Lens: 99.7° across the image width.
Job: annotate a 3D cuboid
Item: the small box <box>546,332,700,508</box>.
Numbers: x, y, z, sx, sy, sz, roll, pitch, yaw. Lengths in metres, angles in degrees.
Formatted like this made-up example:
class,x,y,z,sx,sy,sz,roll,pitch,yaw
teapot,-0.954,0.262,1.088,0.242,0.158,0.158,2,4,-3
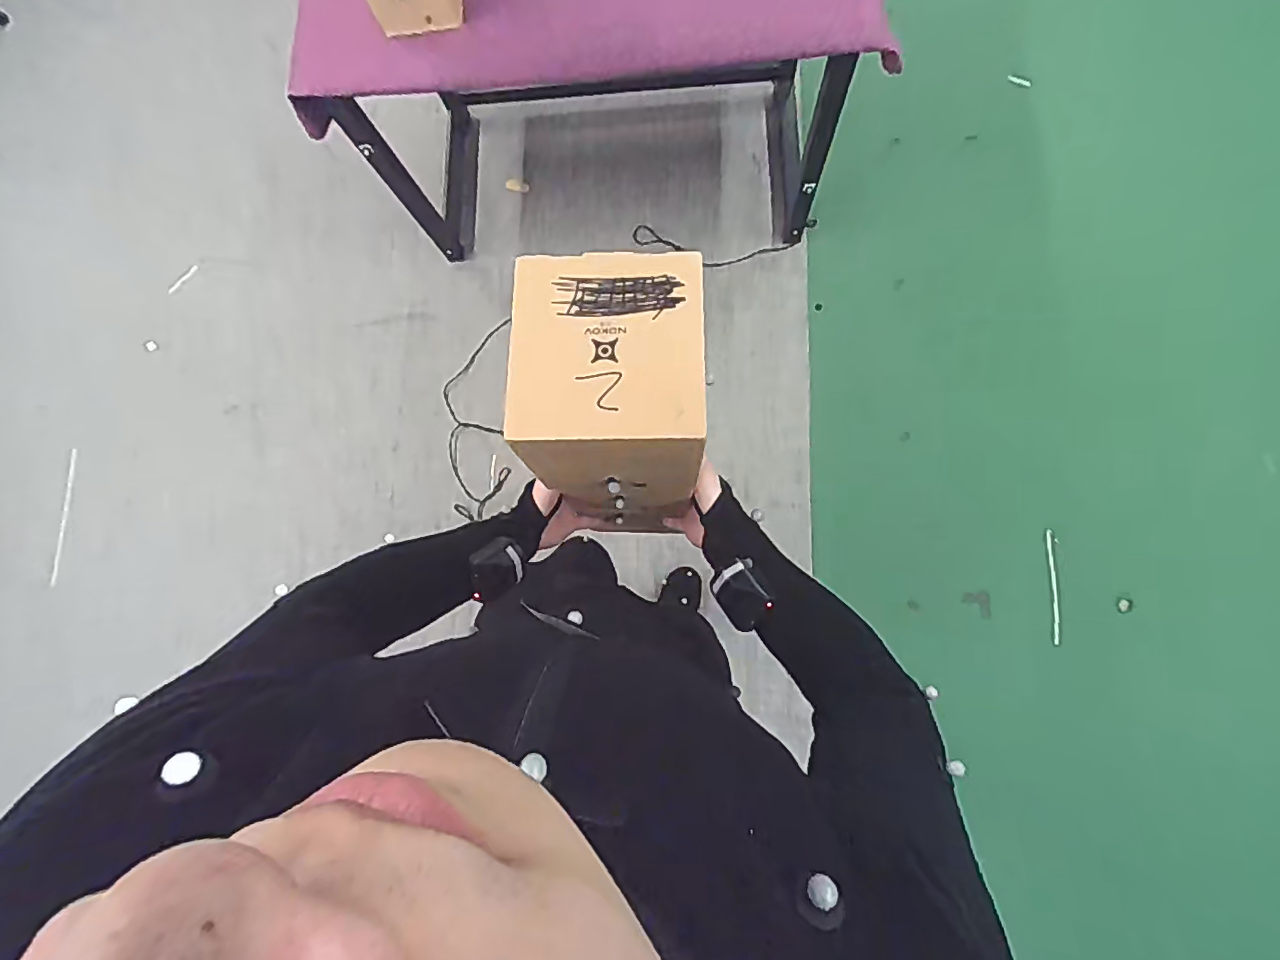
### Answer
class,x,y,z,sx,sy,sz,roll,pitch,yaw
small box,-0.012,-0.066,0.685,0.168,0.176,0.179,3,74,4

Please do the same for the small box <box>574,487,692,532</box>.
class,x,y,z,sx,sy,sz,roll,pitch,yaw
small box,-0.003,-0.021,0.845,0.168,0.176,0.179,1,76,4

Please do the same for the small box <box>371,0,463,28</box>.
class,x,y,z,sx,sy,sz,roll,pitch,yaw
small box,-0.457,-1.030,1.056,0.168,0.176,0.179,-3,81,6
